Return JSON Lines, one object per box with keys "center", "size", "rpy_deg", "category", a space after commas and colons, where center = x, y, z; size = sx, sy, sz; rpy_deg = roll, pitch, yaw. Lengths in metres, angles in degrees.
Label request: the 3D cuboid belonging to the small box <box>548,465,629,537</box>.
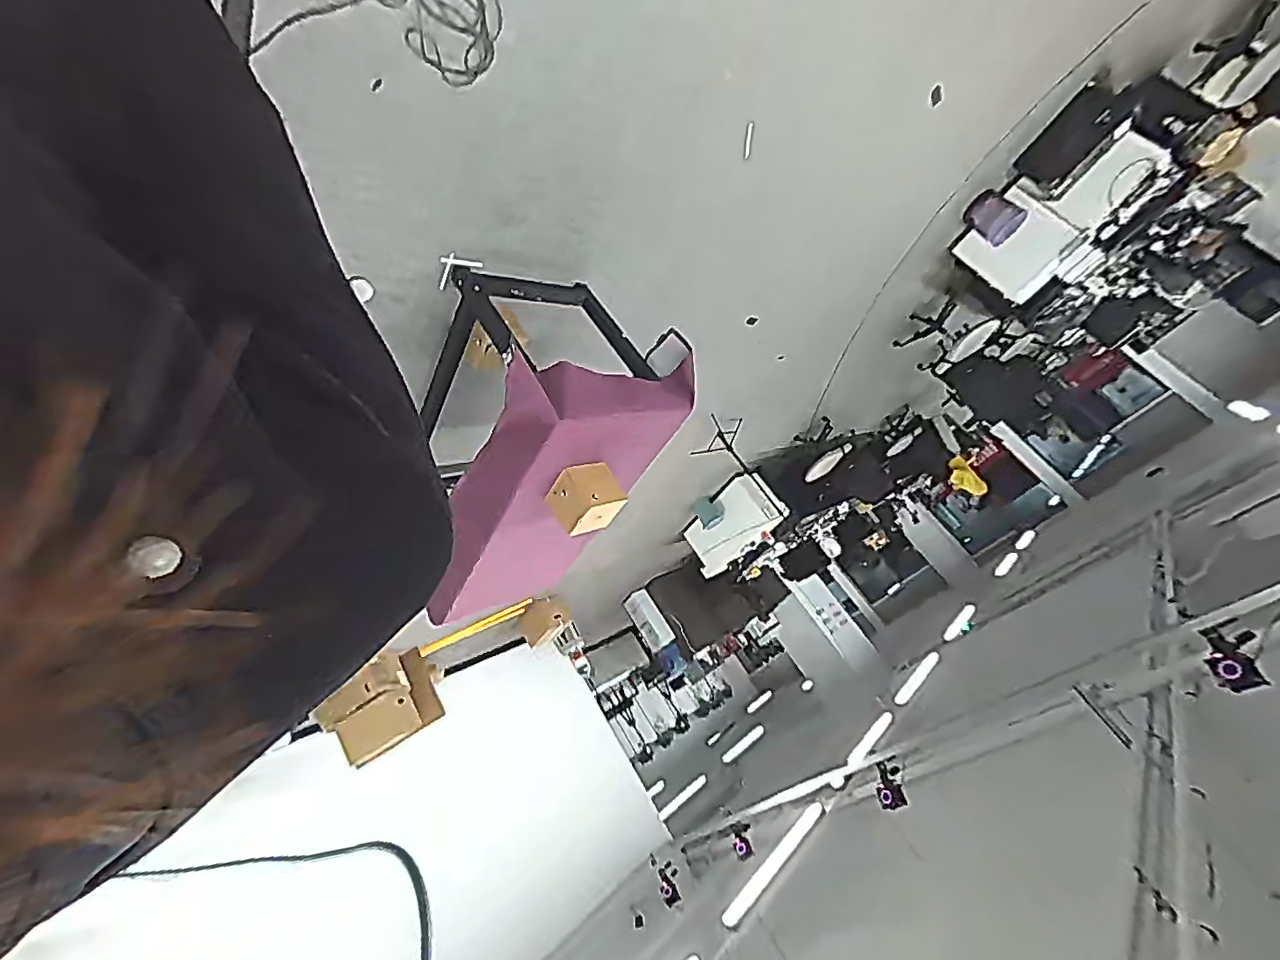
{"center": [-0.176, 0.064, 1.820], "size": [0.179, 0.176, 0.168], "rpy_deg": [-12, 148, -45], "category": "small box"}
